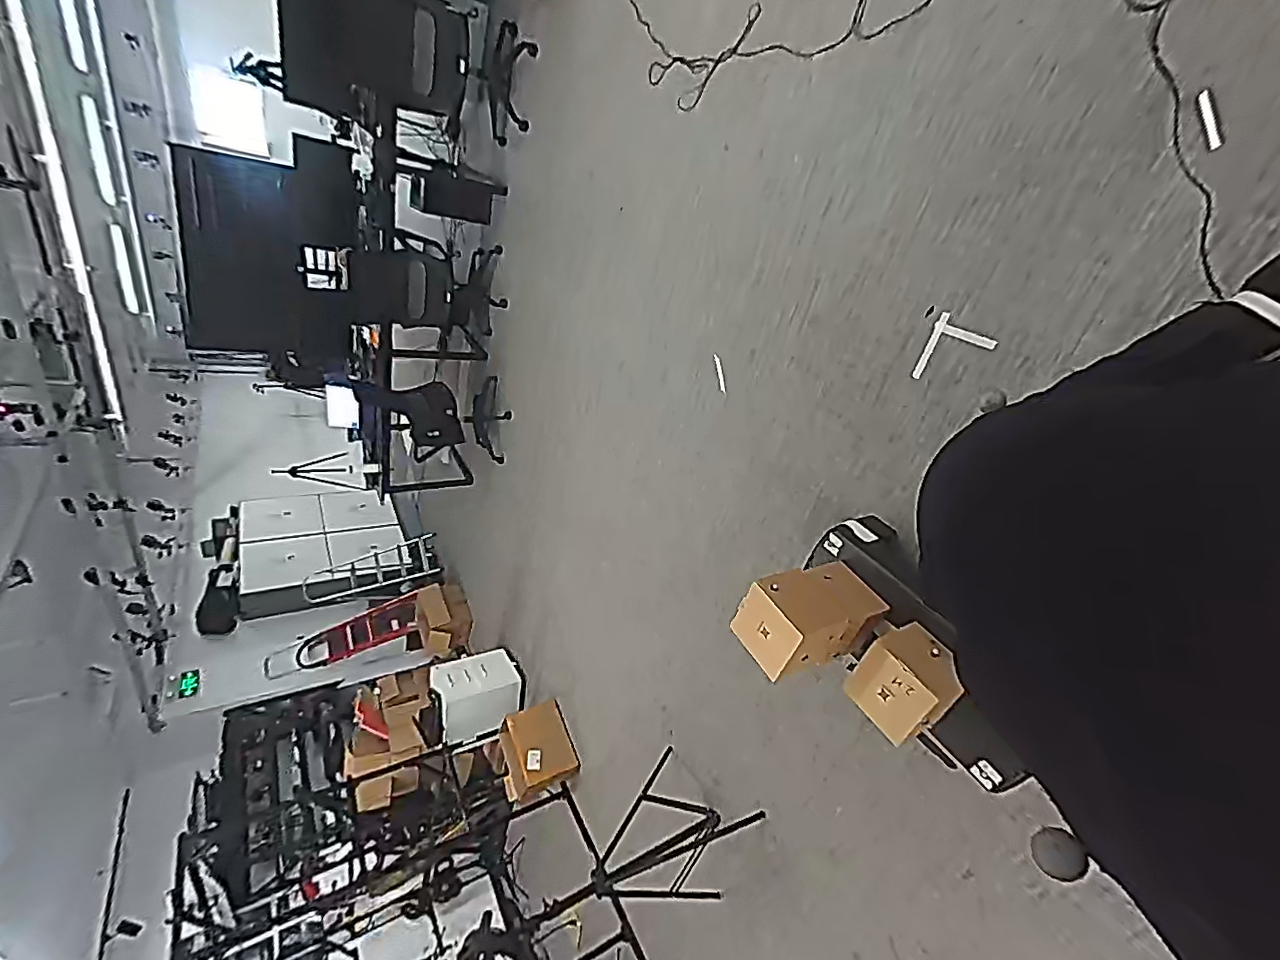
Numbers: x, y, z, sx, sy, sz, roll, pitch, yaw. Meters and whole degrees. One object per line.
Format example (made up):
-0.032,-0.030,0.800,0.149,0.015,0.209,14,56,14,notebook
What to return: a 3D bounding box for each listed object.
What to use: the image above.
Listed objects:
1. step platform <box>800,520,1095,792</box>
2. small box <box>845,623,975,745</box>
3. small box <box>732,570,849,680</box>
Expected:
0.709,0.407,1.382,0.684,0.204,0.286,46,132,42,step platform
0.611,0.454,1.222,0.168,0.176,0.179,49,133,41,small box
0.359,0.336,1.287,0.179,0.176,0.168,51,134,40,small box
